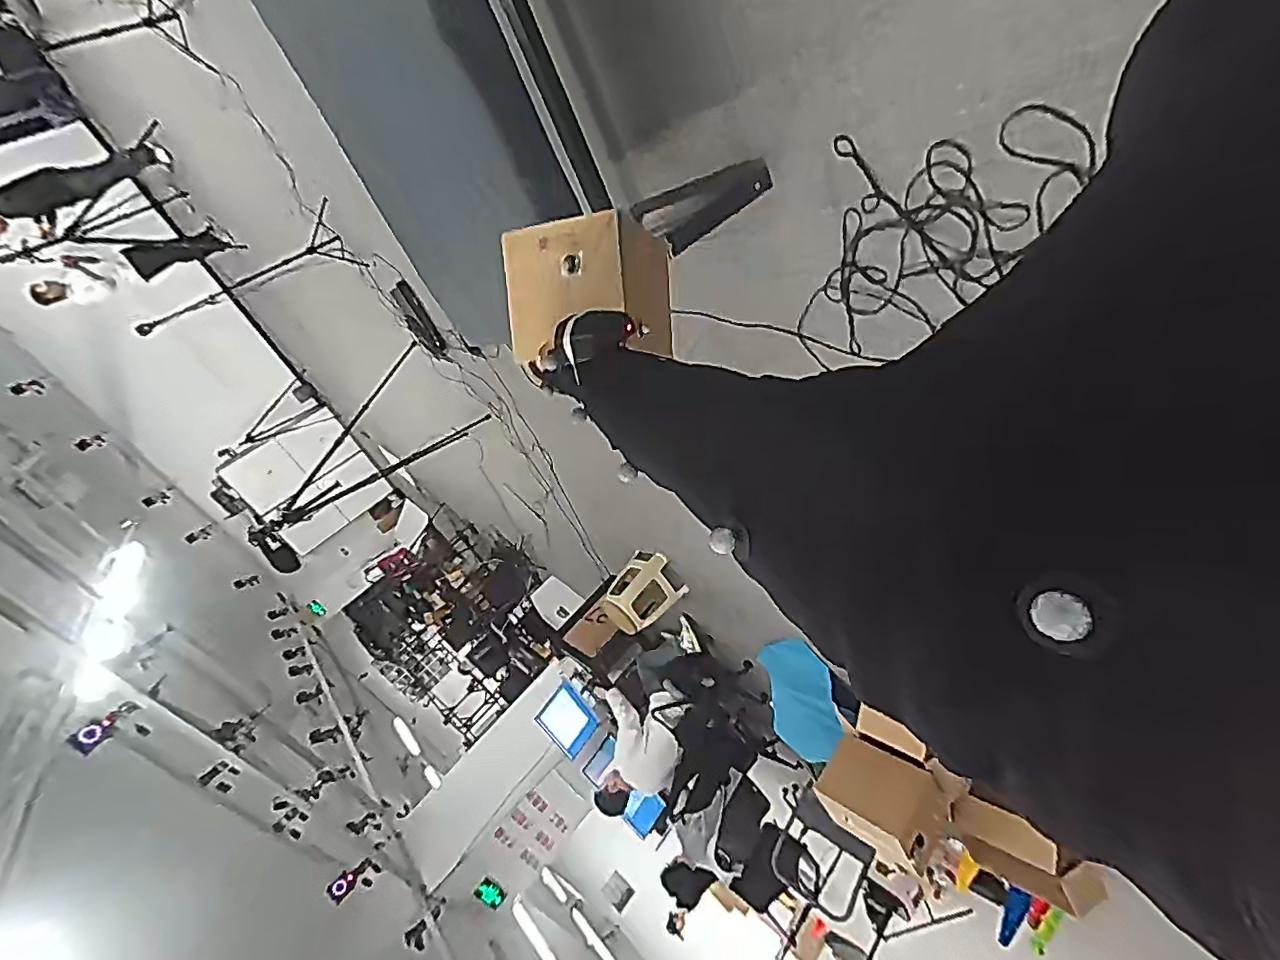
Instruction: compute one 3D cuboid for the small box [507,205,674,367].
[{"bbox_3d":[-0.060,-0.251,0.736,0.168,0.179,0.176,-2,97,23],"label":"small box"}]
